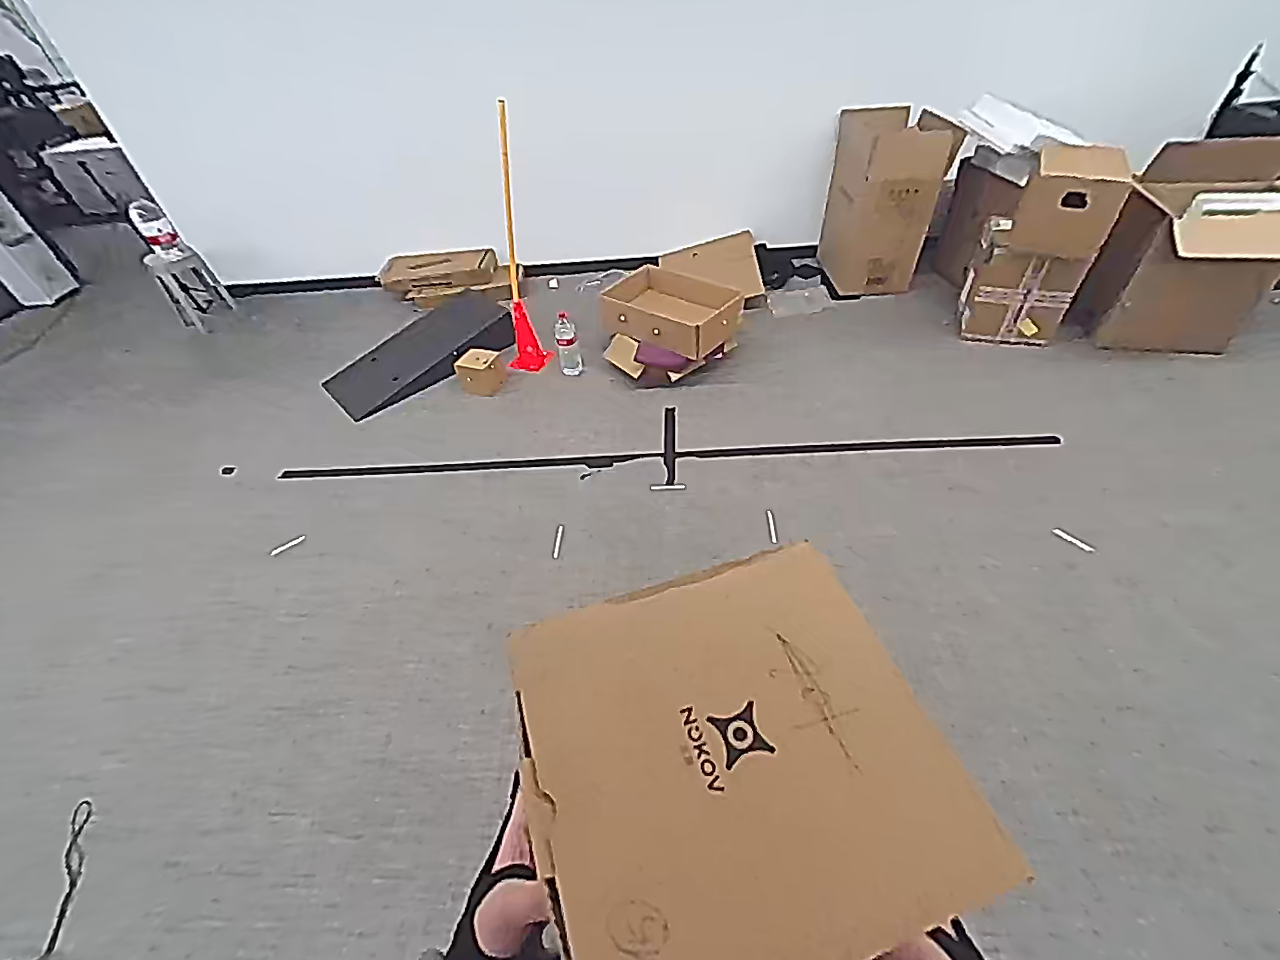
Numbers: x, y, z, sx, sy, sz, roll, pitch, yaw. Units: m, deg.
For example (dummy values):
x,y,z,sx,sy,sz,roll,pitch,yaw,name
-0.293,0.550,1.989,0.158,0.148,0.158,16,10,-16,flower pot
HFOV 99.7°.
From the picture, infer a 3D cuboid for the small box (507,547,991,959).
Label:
x,y,z,sx,sy,sz,roll,pitch,yaw,name
0.038,0.171,0.311,0.179,0.176,0.168,-15,52,-13,small box
